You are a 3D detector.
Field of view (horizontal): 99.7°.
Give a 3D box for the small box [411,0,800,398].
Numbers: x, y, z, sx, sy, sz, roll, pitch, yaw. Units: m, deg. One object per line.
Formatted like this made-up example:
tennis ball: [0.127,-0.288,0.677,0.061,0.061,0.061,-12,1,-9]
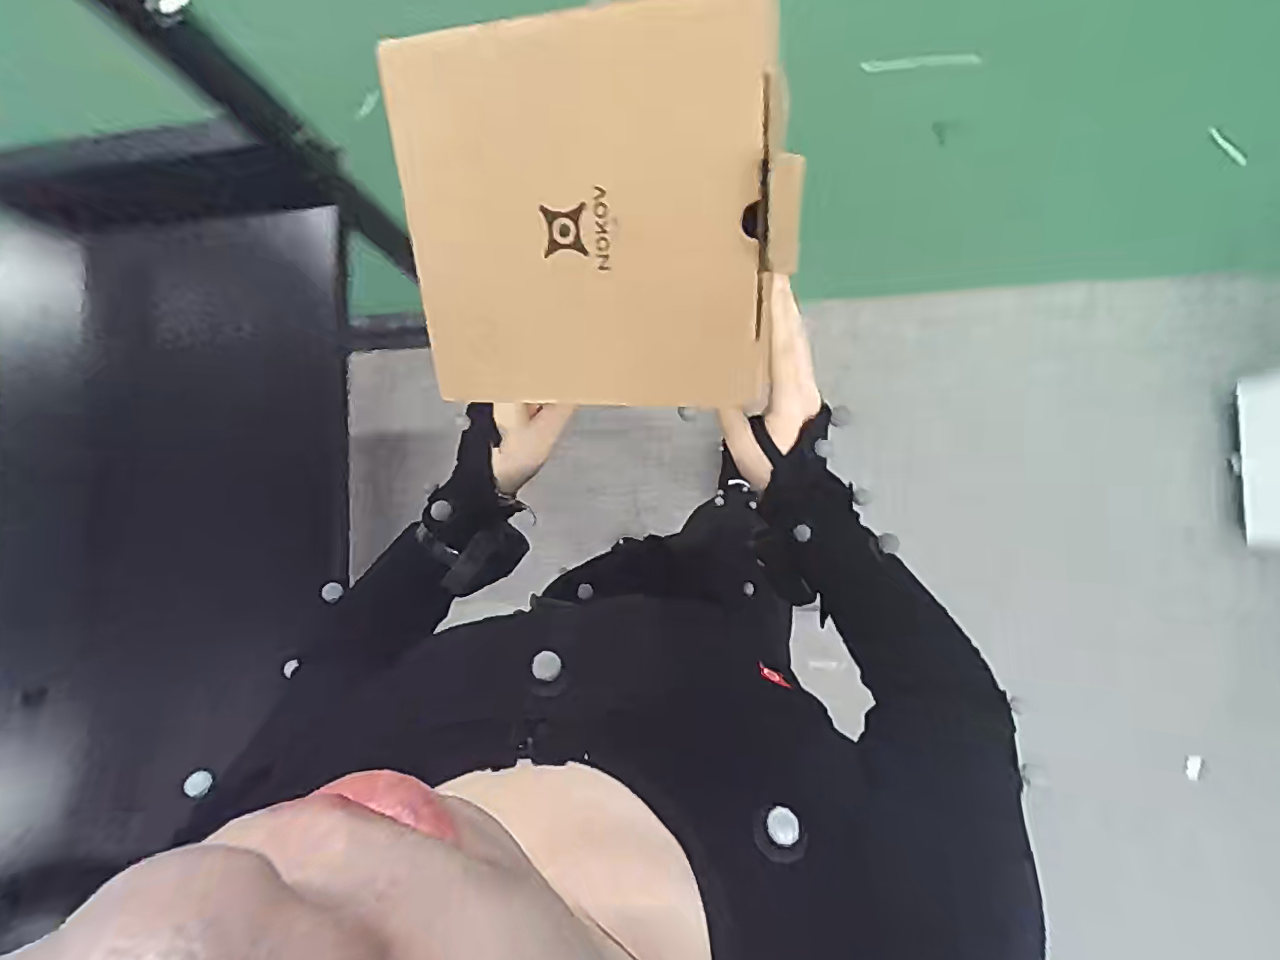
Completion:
small box: [-0.001,-0.149,0.326,0.179,0.176,0.168,3,111,14]
